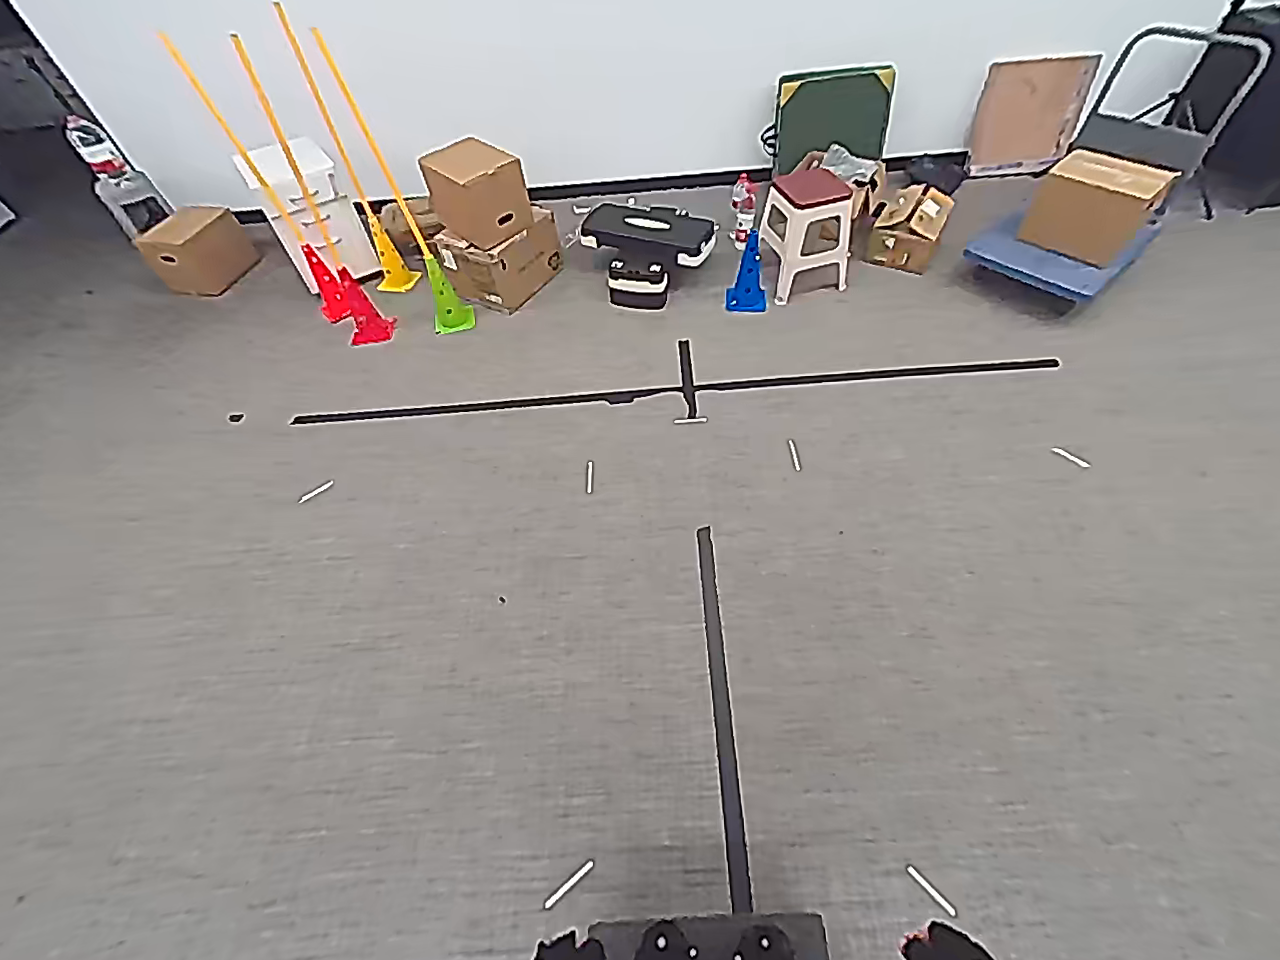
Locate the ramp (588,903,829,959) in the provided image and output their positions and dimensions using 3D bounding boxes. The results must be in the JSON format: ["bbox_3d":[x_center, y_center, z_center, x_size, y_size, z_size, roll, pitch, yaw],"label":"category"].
[{"bbox_3d":[0.161,1.341,0.907,0.509,0.206,0.991,-5,52,0],"label":"ramp"}]
